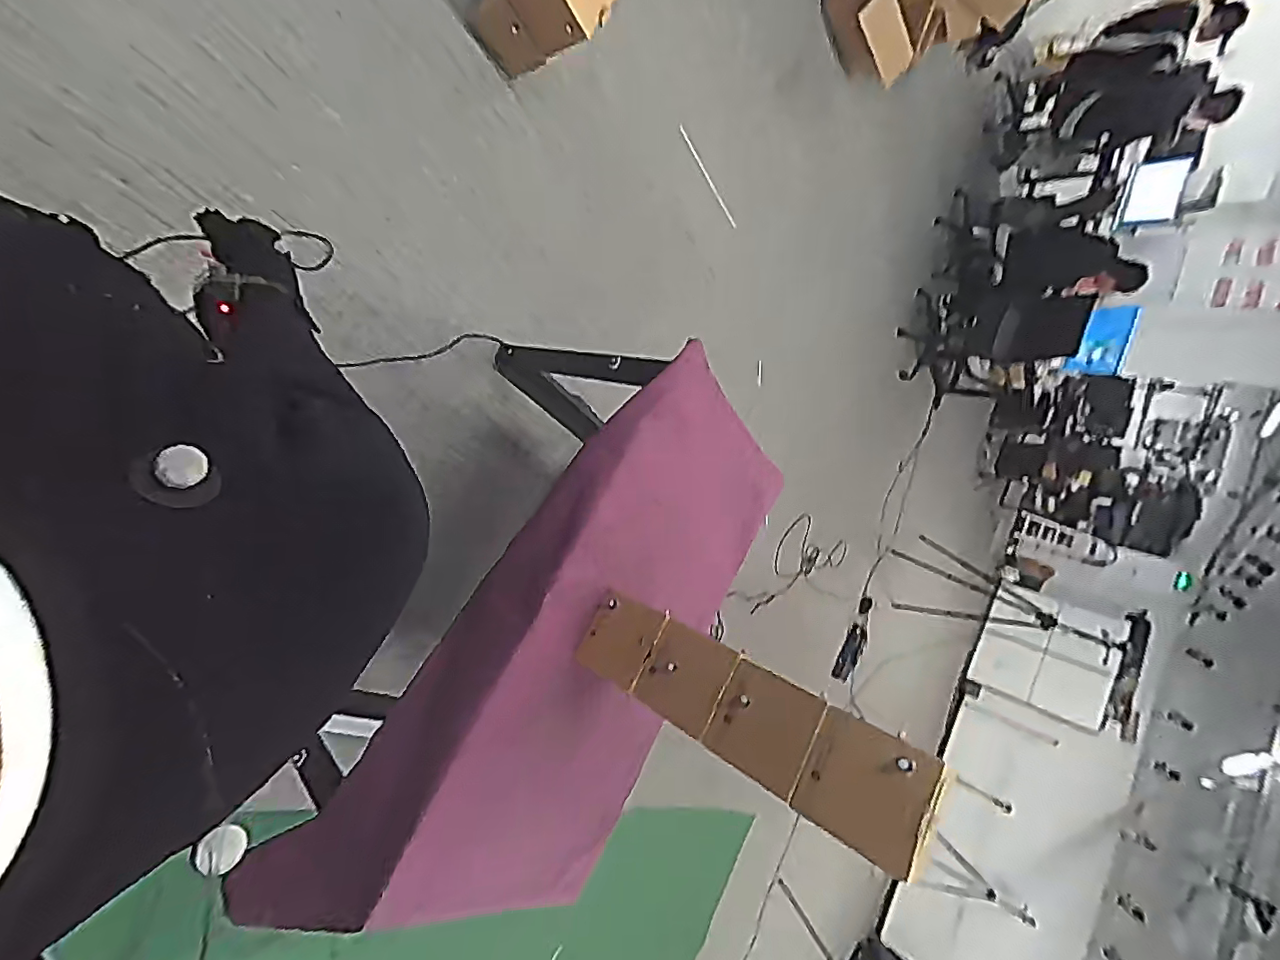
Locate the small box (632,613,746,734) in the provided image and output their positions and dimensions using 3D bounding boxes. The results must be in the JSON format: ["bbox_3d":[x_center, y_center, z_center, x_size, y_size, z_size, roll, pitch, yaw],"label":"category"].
[{"bbox_3d":[0.118,0.379,1.045,0.179,0.176,0.168,42,72,-46],"label":"small box"}]

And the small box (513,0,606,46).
[{"bbox_3d":[-0.193,-1.176,1.268,0.179,0.176,0.168,39,75,-47],"label":"small box"}]

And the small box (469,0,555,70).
[{"bbox_3d":[-0.304,-1.206,1.384,0.168,0.176,0.179,38,74,-47],"label":"small box"}]

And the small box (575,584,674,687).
[{"bbox_3d":[-0.005,0.339,1.148,0.179,0.176,0.168,43,72,-46],"label":"small box"}]

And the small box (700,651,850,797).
[{"bbox_3d":[0.236,0.419,0.941,0.179,0.176,0.168,42,72,-46],"label":"small box"}]
